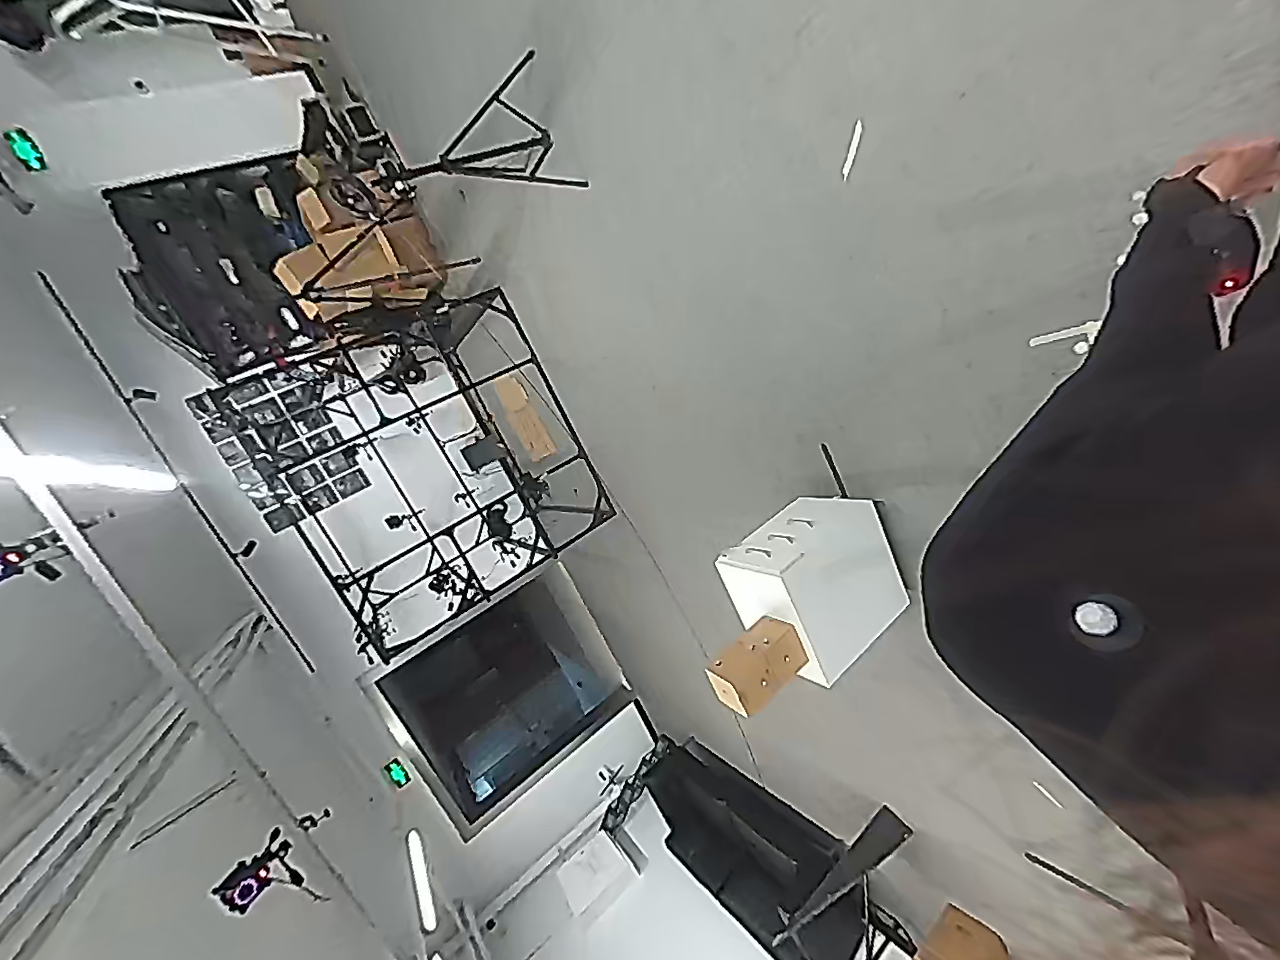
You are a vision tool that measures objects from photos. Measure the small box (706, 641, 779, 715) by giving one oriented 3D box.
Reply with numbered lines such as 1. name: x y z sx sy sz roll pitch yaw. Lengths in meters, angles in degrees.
1. small box: 0.382 0.726 2.009 0.179 0.176 0.168 5 125 61
